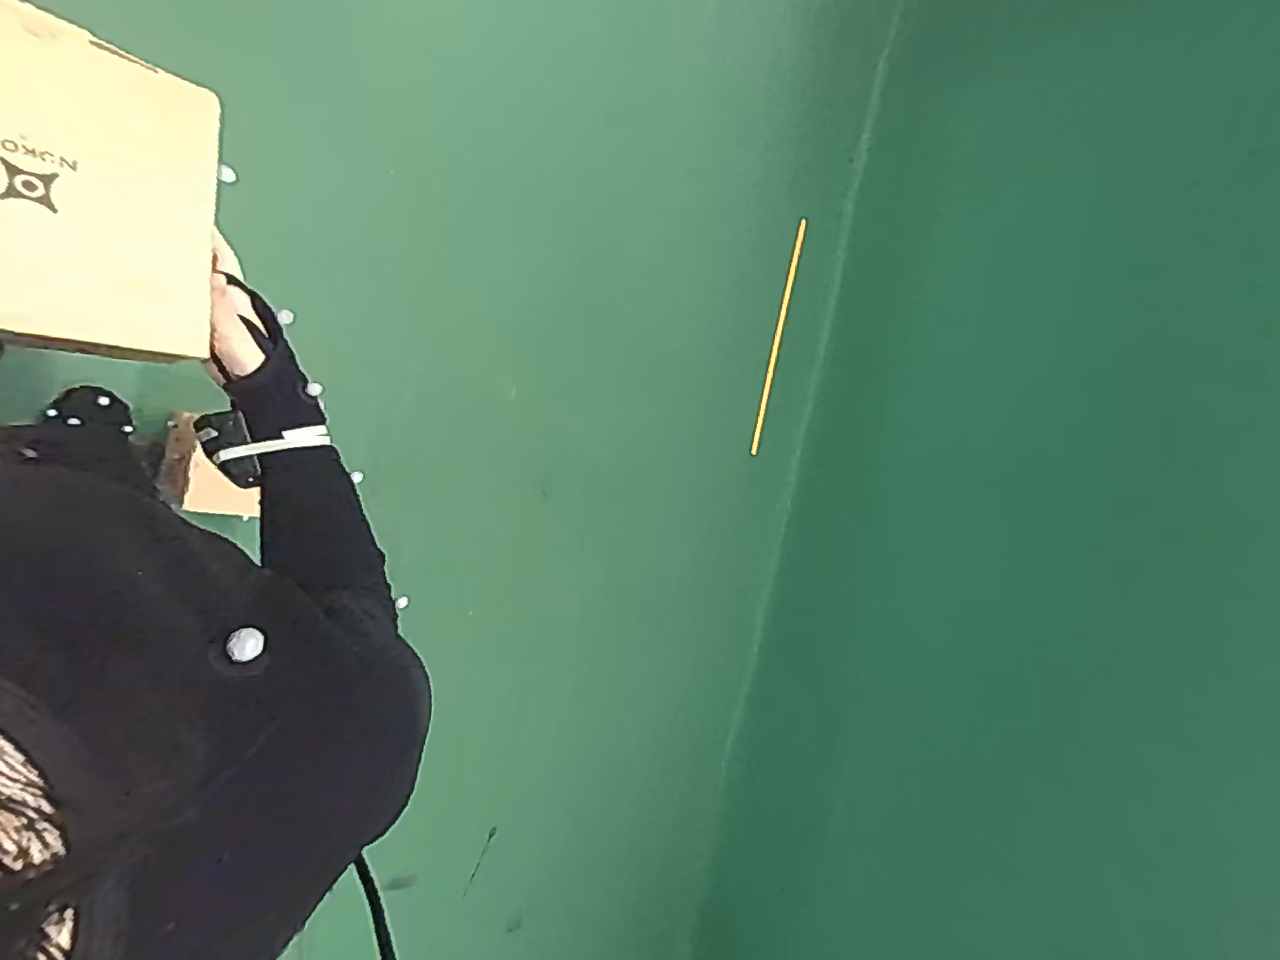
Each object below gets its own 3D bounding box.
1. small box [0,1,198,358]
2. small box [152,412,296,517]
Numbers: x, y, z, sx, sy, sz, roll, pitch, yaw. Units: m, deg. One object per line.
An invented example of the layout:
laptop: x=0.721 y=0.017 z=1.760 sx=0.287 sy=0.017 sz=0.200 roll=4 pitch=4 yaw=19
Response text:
small box: x=-0.408 y=-0.180 z=0.351 sx=0.168 sy=0.176 sz=0.179 roll=0 pitch=95 yaw=-48
small box: x=-0.804 y=-0.032 z=1.045 sx=0.179 sy=0.176 sz=0.168 roll=13 pitch=87 yaw=-47
